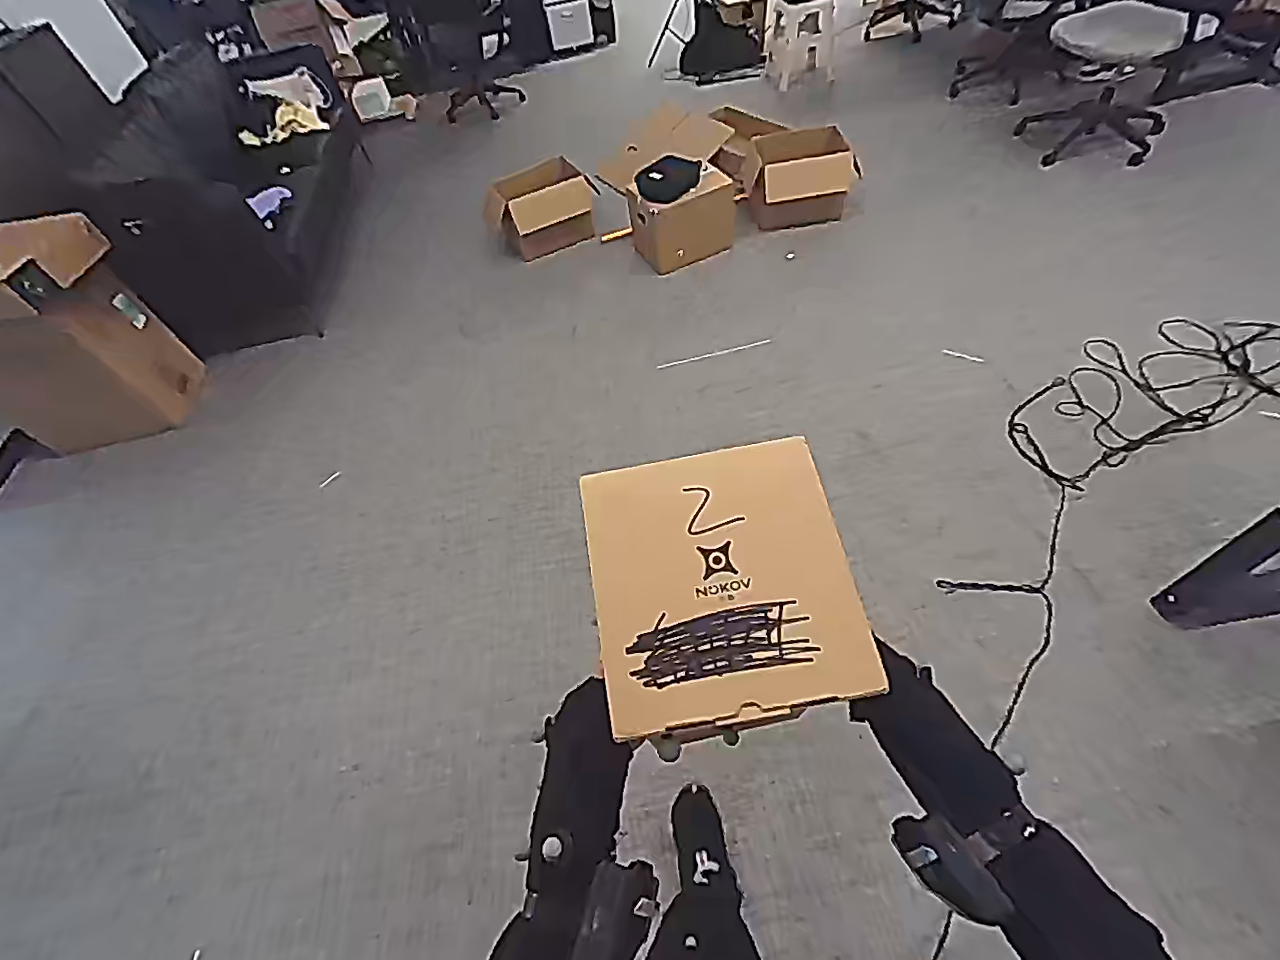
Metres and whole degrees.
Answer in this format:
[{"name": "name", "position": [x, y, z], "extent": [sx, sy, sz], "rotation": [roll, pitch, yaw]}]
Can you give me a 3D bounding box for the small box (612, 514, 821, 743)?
[{"name": "small box", "position": [0.073, 0.165, 0.583], "extent": [0.168, 0.176, 0.179], "rotation": [-13, 57, 0]}]
